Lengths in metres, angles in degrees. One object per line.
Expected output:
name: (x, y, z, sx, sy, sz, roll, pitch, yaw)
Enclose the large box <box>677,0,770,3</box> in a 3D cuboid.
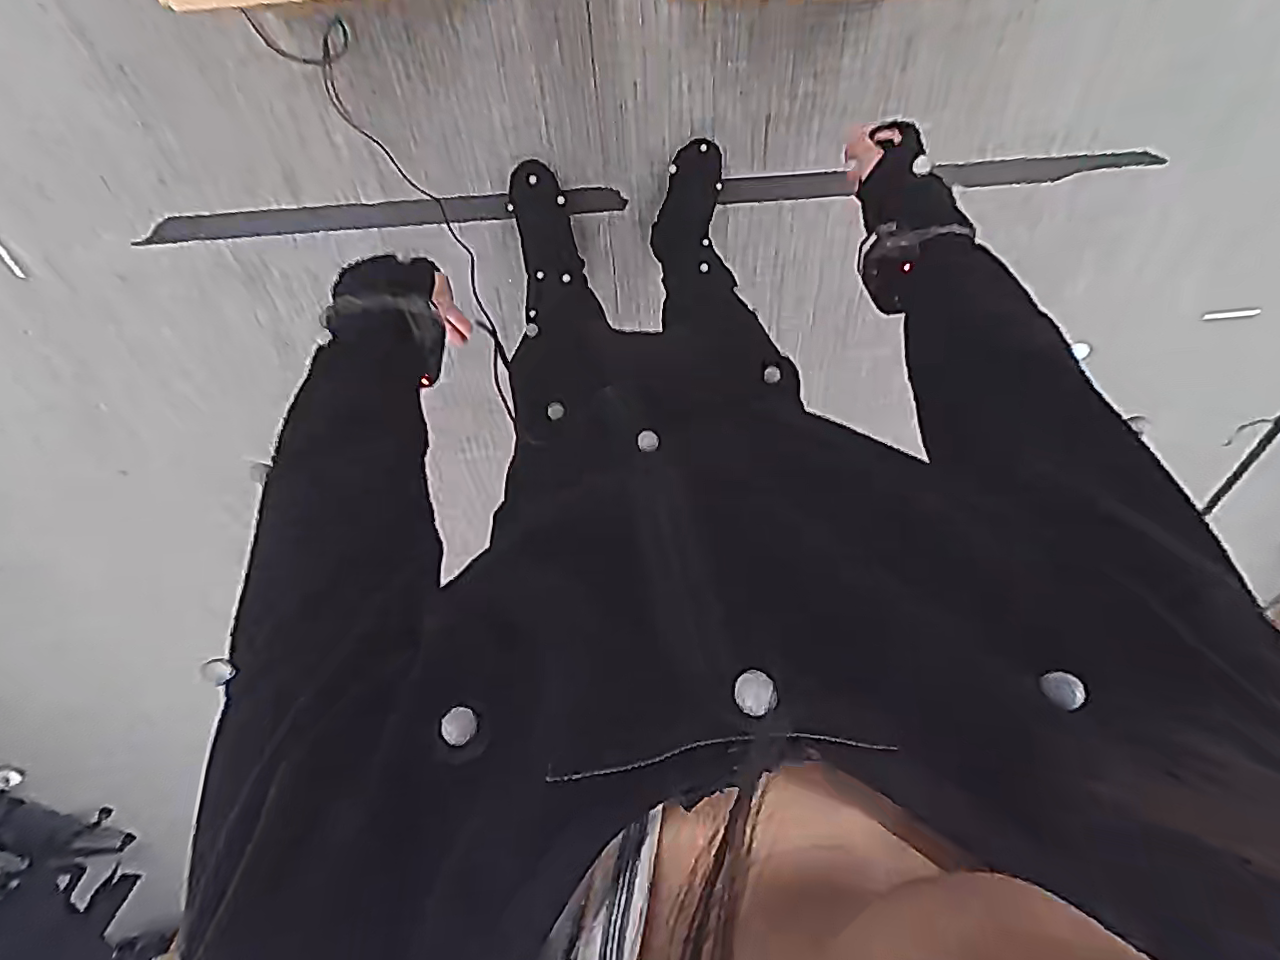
large box: (0.263, -0.889, 0.761, 0.408, 0.320, 0.320, -4, 131, -4)
